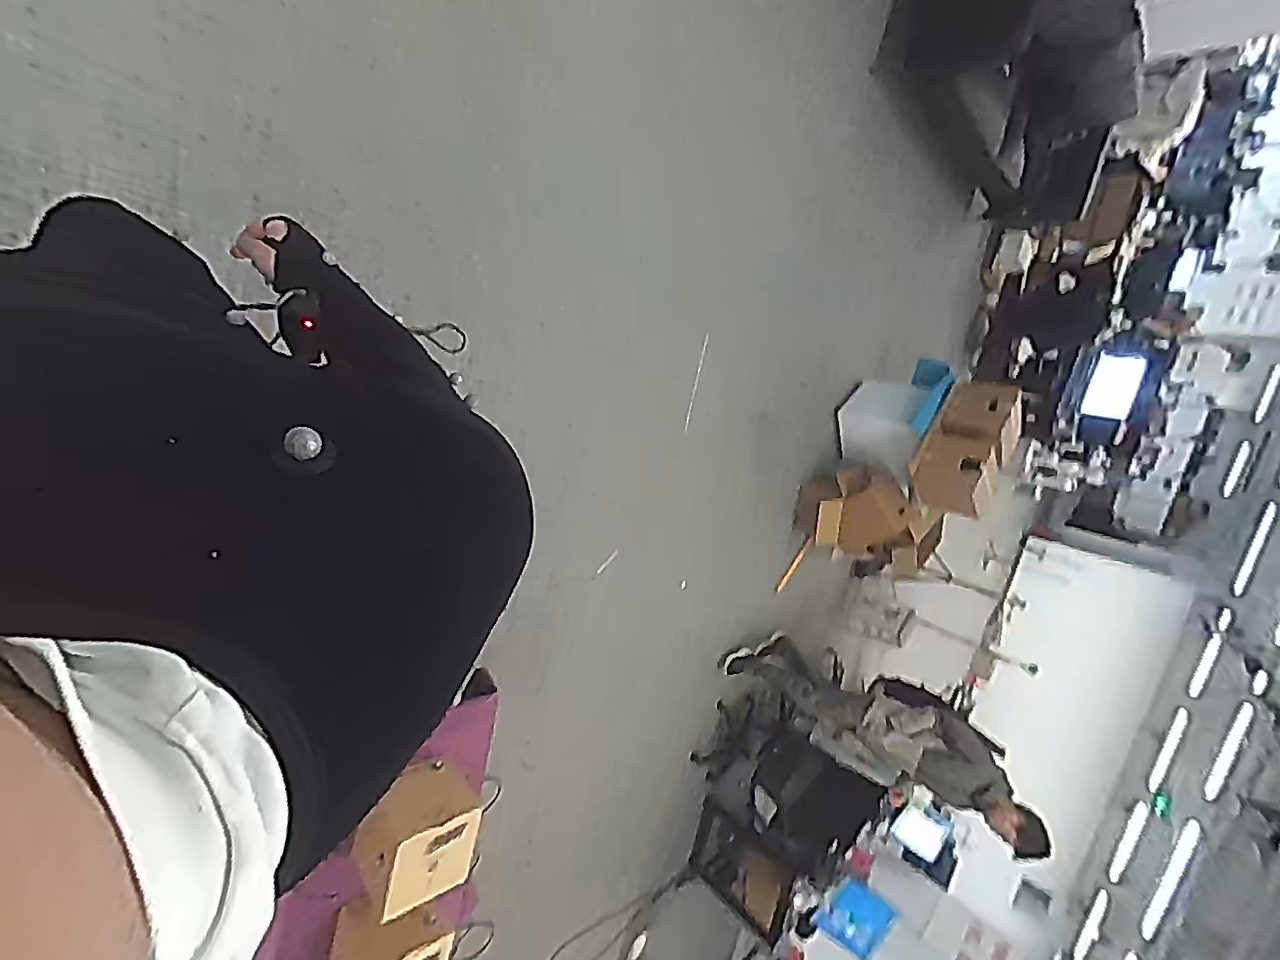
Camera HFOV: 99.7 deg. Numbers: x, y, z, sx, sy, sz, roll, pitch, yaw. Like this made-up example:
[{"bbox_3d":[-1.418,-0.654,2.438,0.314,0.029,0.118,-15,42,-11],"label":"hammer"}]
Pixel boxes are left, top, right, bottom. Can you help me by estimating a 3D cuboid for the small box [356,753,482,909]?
[{"bbox_3d":[-0.443,0.675,1.074,0.168,0.176,0.179,4,105,-47],"label":"small box"}]
